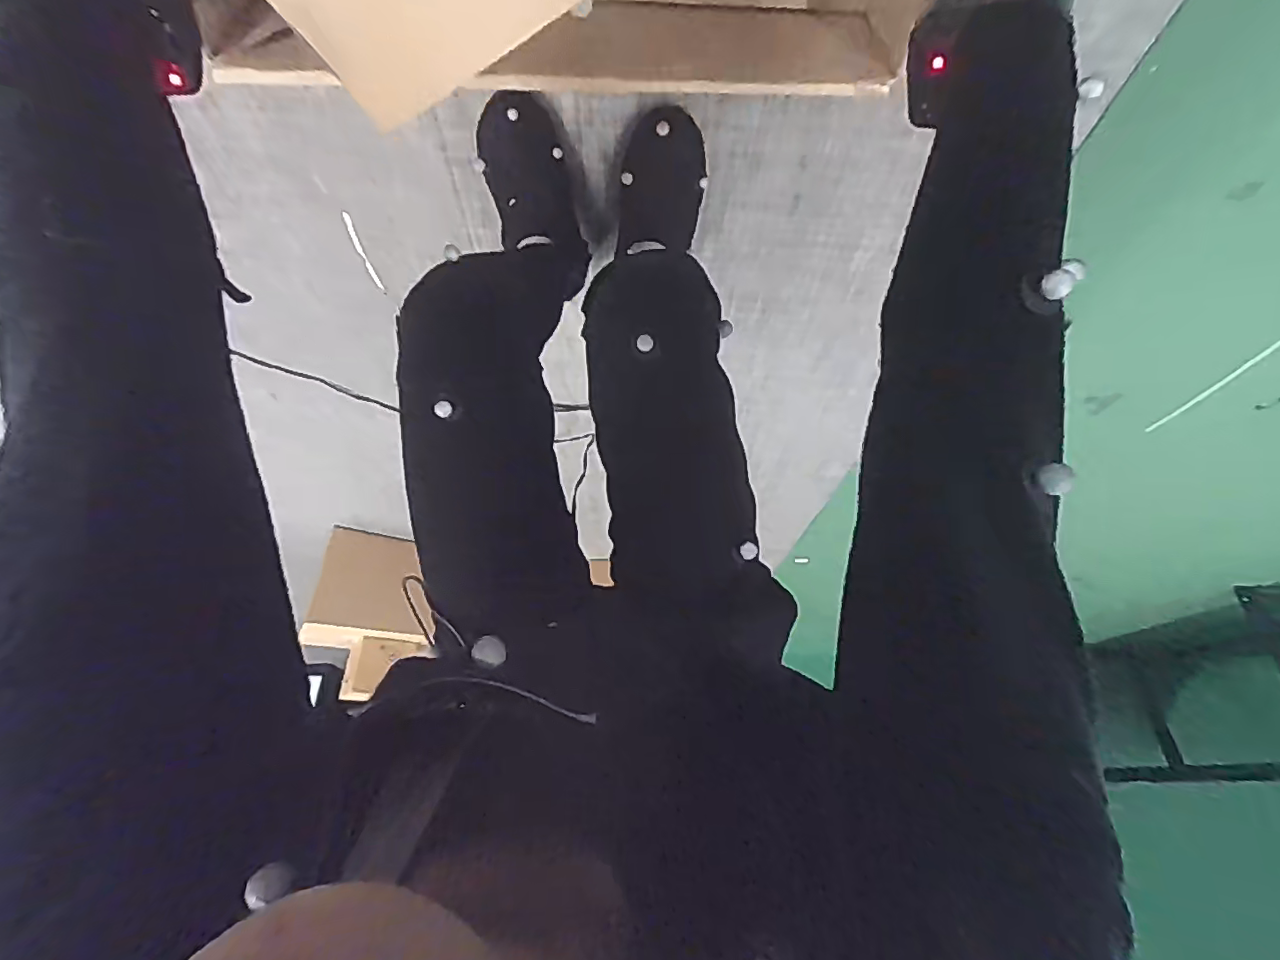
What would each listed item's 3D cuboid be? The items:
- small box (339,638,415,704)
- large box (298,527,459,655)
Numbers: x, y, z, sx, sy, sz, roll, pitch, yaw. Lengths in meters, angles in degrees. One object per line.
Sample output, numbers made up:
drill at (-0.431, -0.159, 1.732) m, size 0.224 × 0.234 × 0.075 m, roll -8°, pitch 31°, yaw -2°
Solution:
small box at (-0.839, 0.614, 1.731) m, size 0.168 × 0.176 × 0.179 m, roll 20°, pitch 146°, yaw -31°
large box at (-0.872, 0.387, 1.823) m, size 0.408 × 0.320 × 0.320 m, roll 18°, pitch 146°, yaw -26°
